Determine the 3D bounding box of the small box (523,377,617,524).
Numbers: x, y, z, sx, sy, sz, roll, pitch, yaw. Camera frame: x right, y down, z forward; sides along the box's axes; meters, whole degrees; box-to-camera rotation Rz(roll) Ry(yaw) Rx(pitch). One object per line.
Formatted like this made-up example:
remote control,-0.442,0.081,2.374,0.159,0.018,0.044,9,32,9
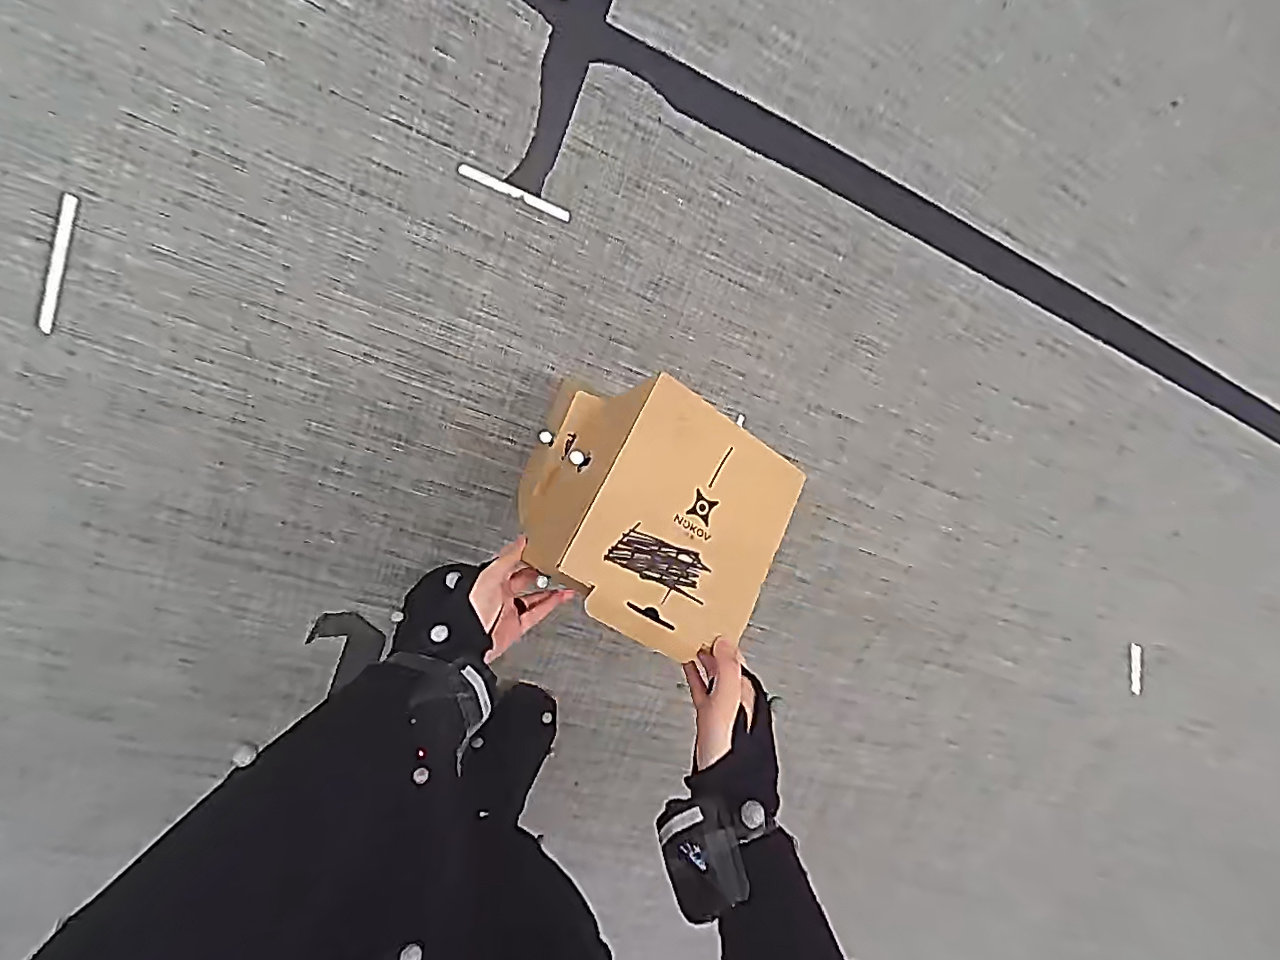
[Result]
small box,-0.034,-0.018,0.670,0.179,0.176,0.168,22,99,-18

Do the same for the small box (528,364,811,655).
small box,0.014,0.029,0.493,0.168,0.176,0.179,32,74,-19
